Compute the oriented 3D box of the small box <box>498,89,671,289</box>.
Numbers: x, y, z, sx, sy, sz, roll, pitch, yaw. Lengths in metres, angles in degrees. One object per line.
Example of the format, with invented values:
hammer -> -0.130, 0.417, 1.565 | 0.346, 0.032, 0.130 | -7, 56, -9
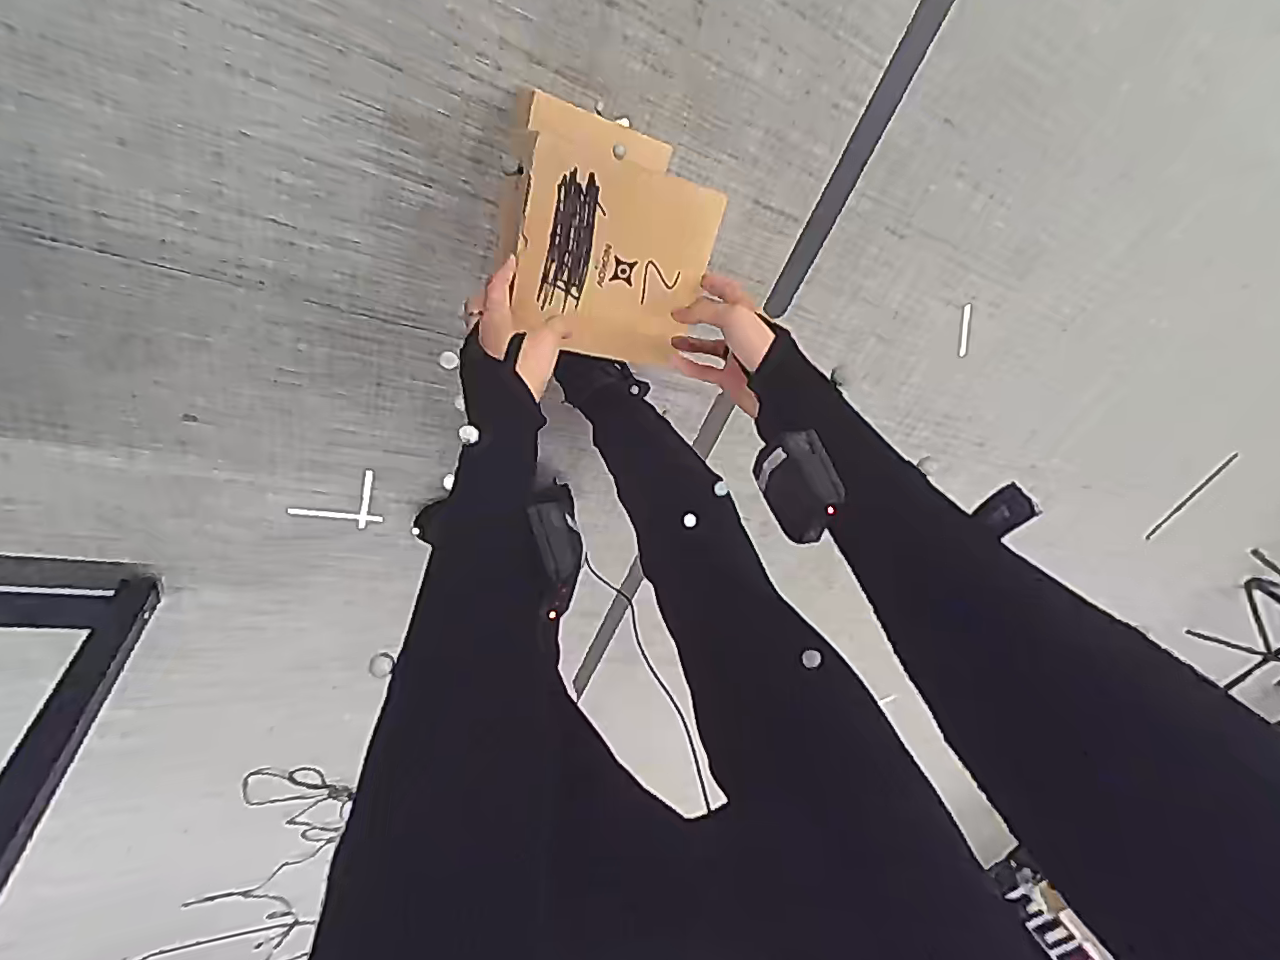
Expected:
small box -> -0.085, -0.378, 0.701 | 0.168, 0.176, 0.179 | 7, 124, -23
